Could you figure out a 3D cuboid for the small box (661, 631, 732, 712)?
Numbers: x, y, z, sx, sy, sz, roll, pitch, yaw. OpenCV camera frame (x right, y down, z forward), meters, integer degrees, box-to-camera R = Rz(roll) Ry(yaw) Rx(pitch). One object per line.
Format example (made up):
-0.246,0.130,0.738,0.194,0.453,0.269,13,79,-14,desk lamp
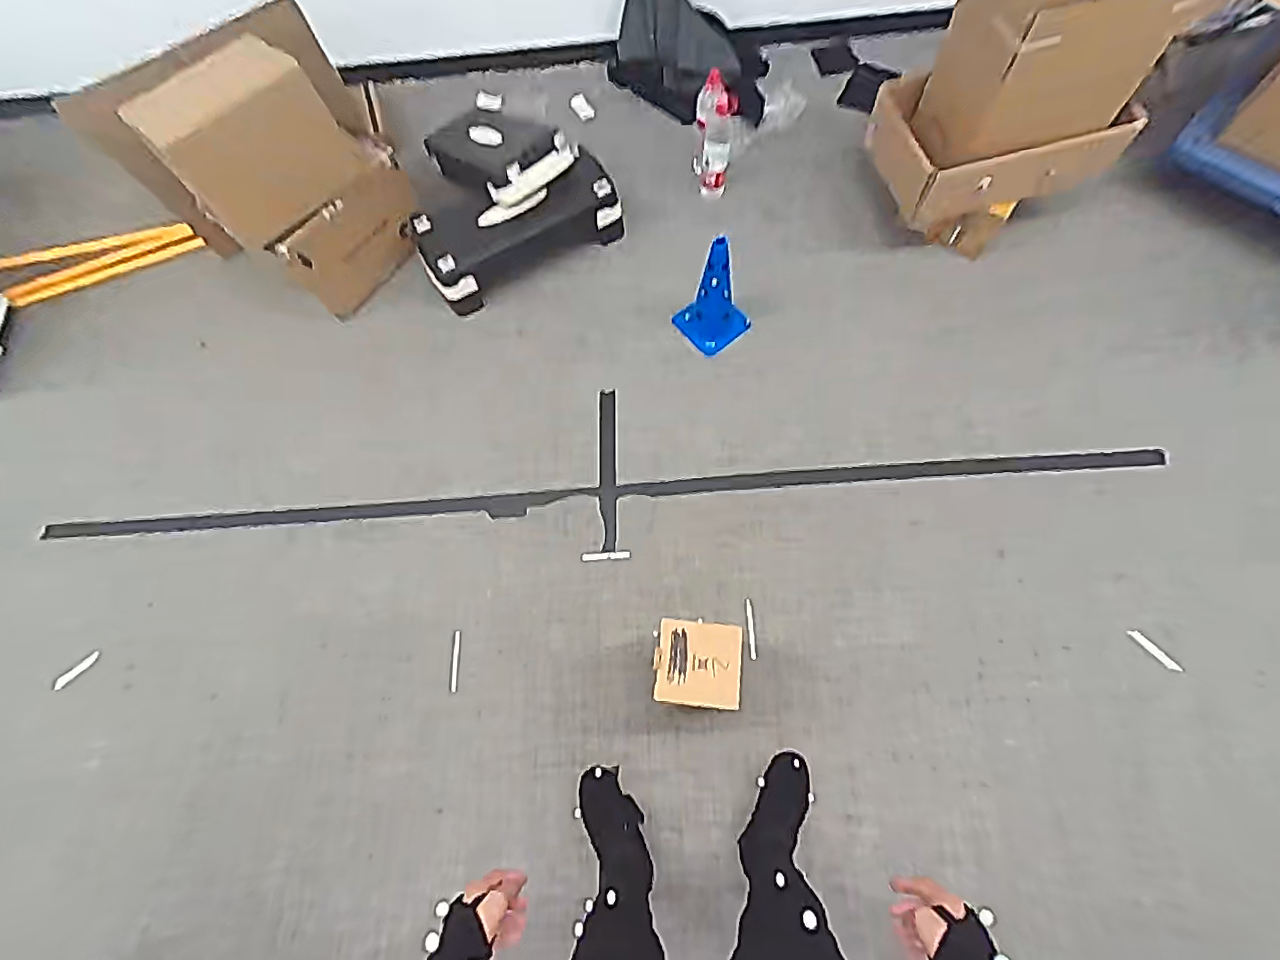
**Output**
0.140,0.475,1.346,0.168,0.176,0.179,1,69,4,small box
